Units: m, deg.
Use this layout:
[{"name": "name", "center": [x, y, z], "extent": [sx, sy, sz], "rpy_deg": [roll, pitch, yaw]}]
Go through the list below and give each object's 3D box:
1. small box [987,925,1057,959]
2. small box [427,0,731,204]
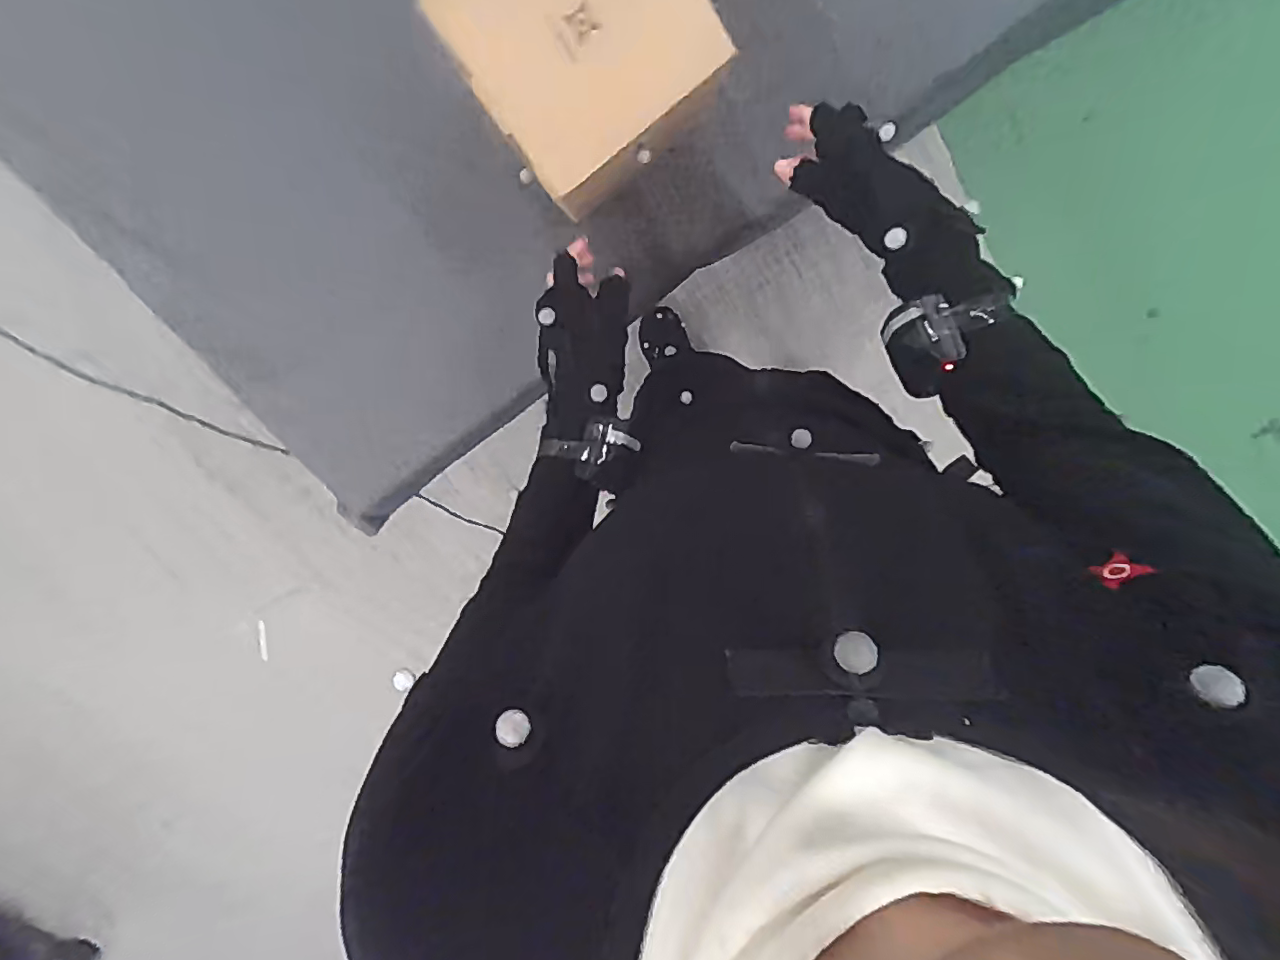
[{"name": "small box", "center": [1.211, 1.533, 1.665], "extent": [0.179, 0.176, 0.168], "rpy_deg": [-36, 107, 11]}, {"name": "small box", "center": [-0.046, -0.376, 0.480], "extent": [0.179, 0.176, 0.168], "rpy_deg": [-36, 108, 11]}]
